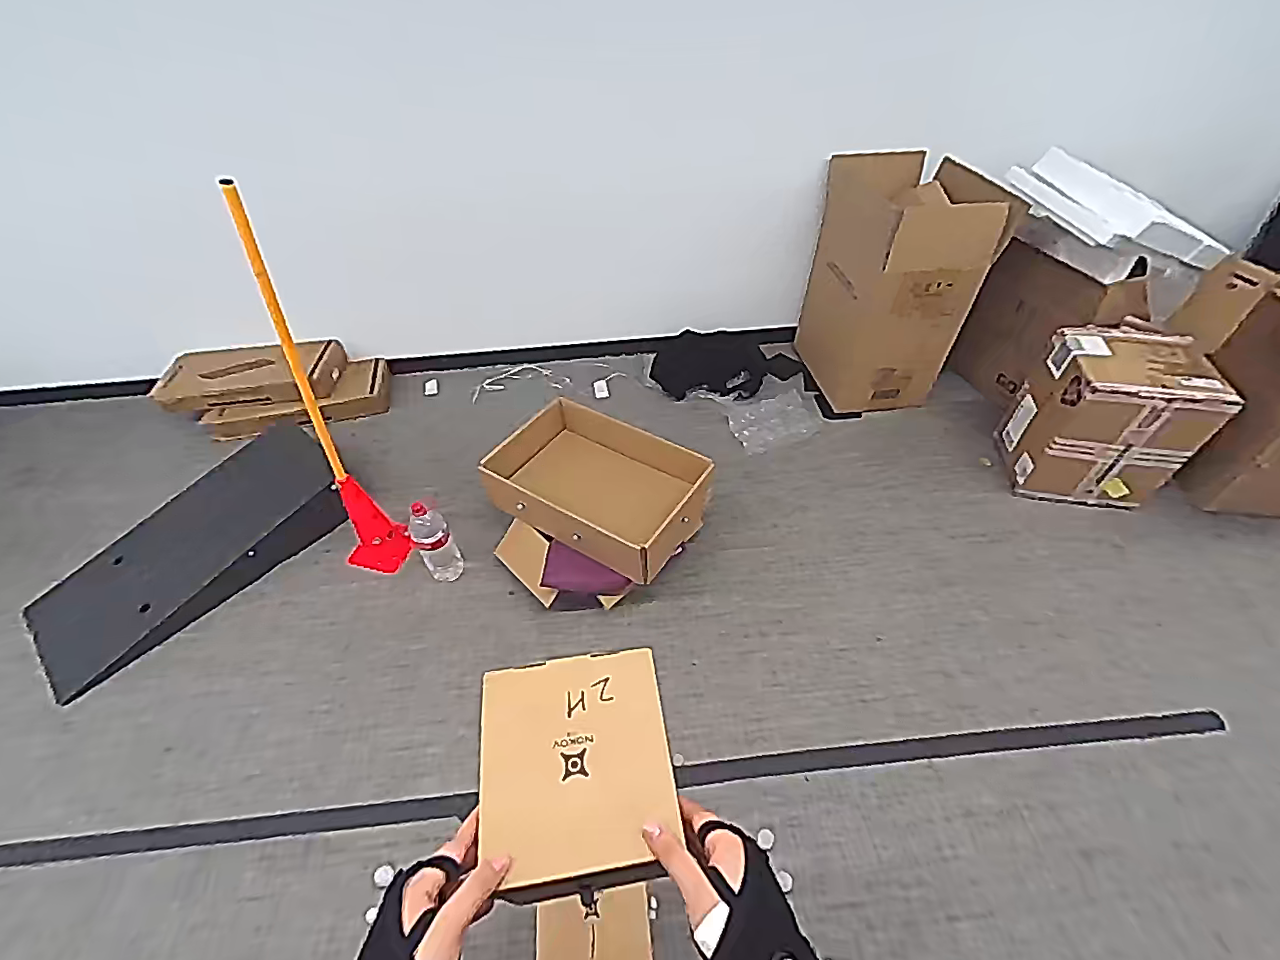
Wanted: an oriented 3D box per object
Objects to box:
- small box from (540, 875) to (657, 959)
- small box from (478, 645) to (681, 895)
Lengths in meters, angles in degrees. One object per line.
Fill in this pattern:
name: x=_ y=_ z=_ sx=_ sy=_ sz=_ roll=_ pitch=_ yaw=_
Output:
small box: x=-0.064 y=0.682 z=0.860 sx=0.168 sy=0.176 sz=0.179 roll=-6 pitch=46 yaw=-3
small box: x=-0.056 y=0.290 z=0.536 sx=0.168 sy=0.176 sz=0.179 roll=-8 pitch=49 yaw=-6
